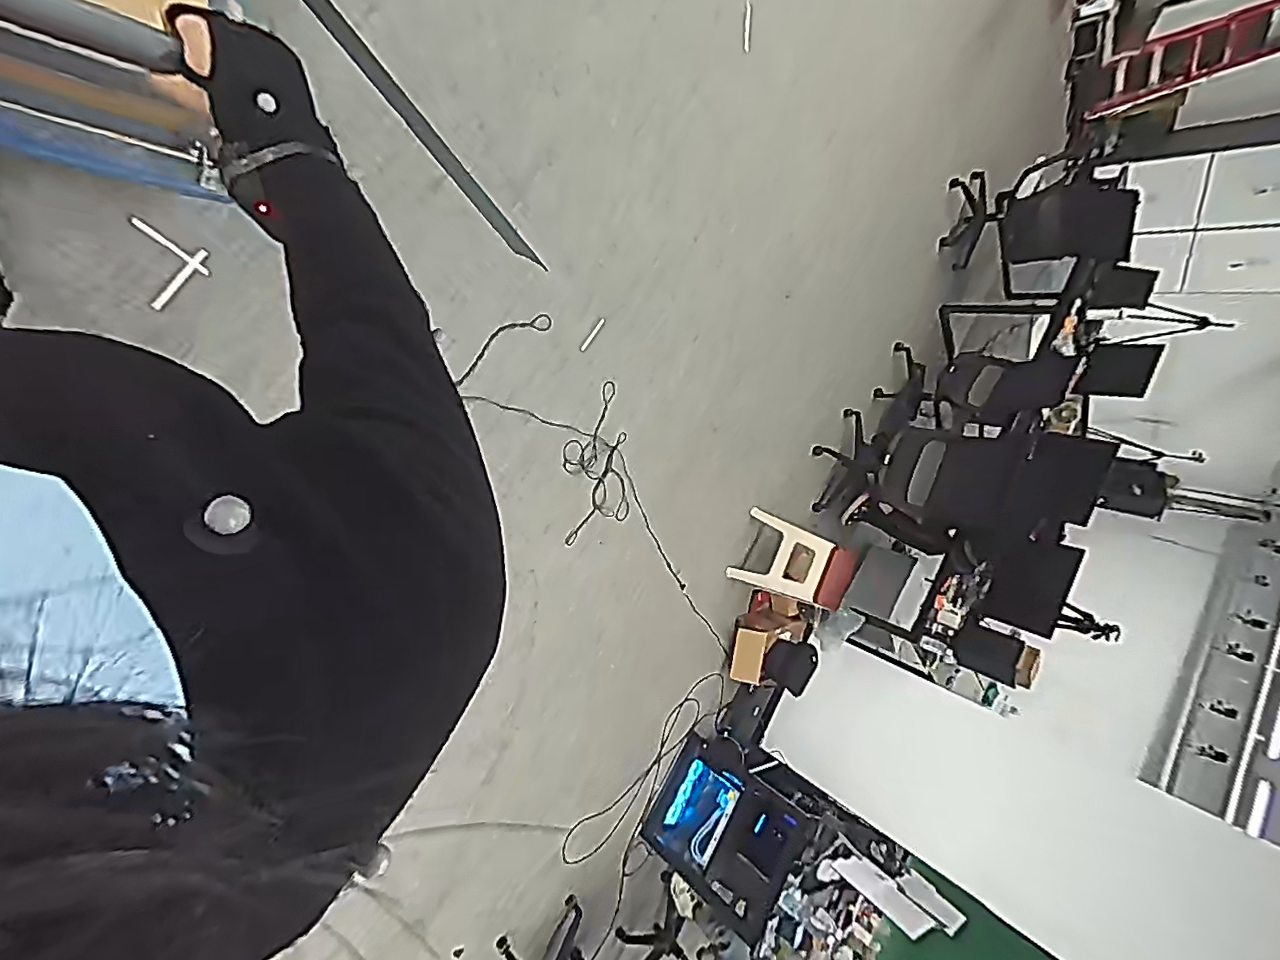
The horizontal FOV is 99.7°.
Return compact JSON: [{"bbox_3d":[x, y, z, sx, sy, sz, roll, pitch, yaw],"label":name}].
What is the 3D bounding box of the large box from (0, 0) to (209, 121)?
[{"bbox_3d":[-0.810,-0.712,0.656,0.408,0.320,0.320,-5,107,-46],"label":"large box"}]
